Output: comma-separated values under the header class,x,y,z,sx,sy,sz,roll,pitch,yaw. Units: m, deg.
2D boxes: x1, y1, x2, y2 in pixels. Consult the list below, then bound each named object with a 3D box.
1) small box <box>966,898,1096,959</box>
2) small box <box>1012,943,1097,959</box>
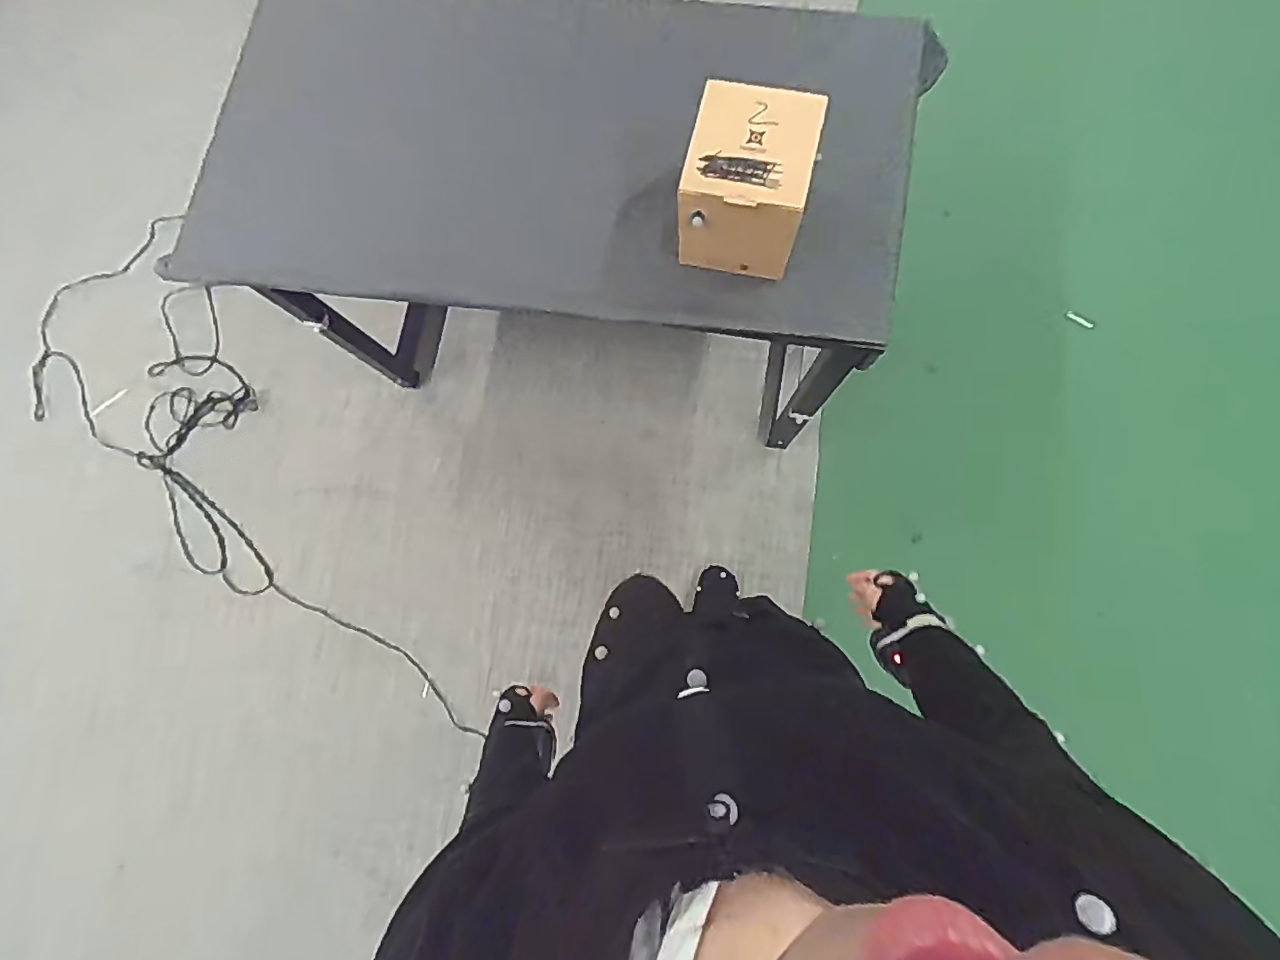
class,x,y,z,sx,sy,sz,roll,pitch,yaw
small box,0.870,1.083,1.213,0.179,0.176,0.168,8,80,4
small box,0.864,1.056,1.053,0.179,0.176,0.168,7,80,4
